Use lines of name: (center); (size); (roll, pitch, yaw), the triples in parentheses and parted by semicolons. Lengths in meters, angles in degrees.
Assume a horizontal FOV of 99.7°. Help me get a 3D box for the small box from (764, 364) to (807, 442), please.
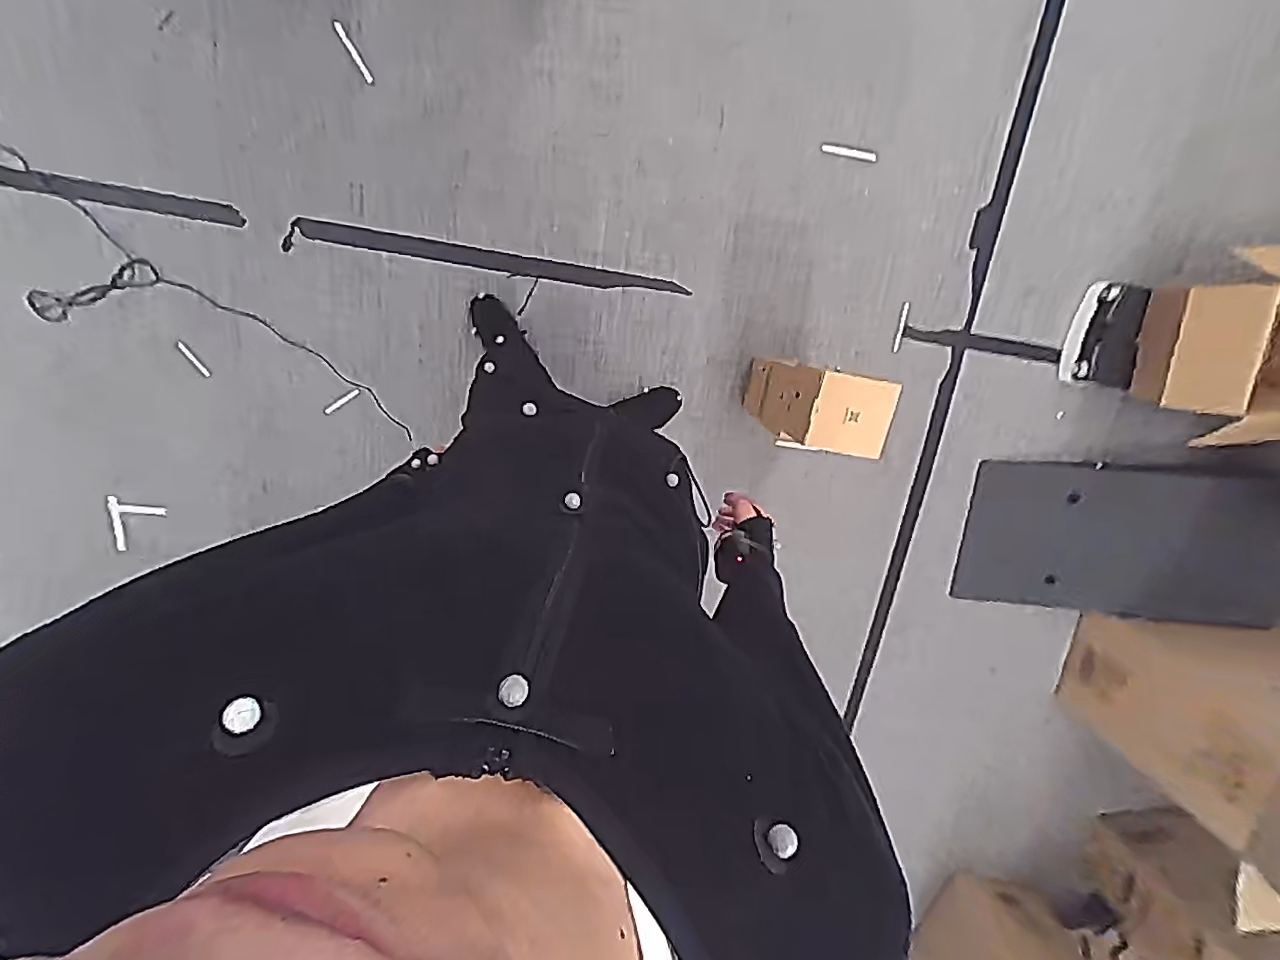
small box: (0.426, -0.193, 1.369); (0.168, 0.176, 0.179); (7, 108, -6)

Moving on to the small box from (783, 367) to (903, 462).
small box: (0.444, -0.153, 1.212); (0.179, 0.176, 0.168); (9, 107, -6)
